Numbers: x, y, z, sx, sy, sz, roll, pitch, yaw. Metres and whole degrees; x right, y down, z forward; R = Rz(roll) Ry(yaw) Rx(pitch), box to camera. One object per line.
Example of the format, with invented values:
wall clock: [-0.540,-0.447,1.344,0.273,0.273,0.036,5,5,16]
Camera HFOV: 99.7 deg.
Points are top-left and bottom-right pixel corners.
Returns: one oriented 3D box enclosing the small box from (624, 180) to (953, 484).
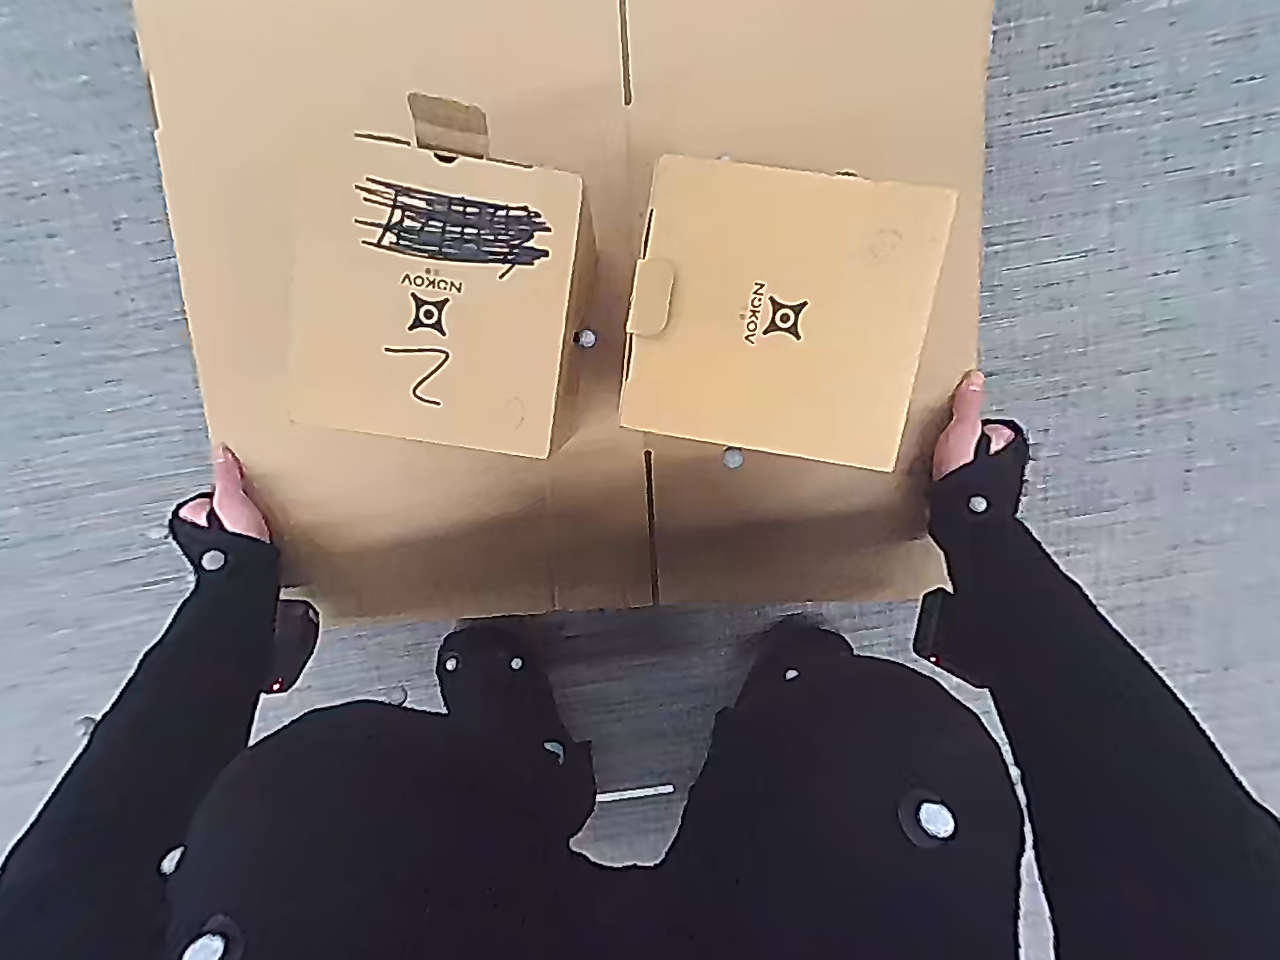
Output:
small box: [0.095,-0.103,0.414,0.179,0.176,0.168,9,101,6]
